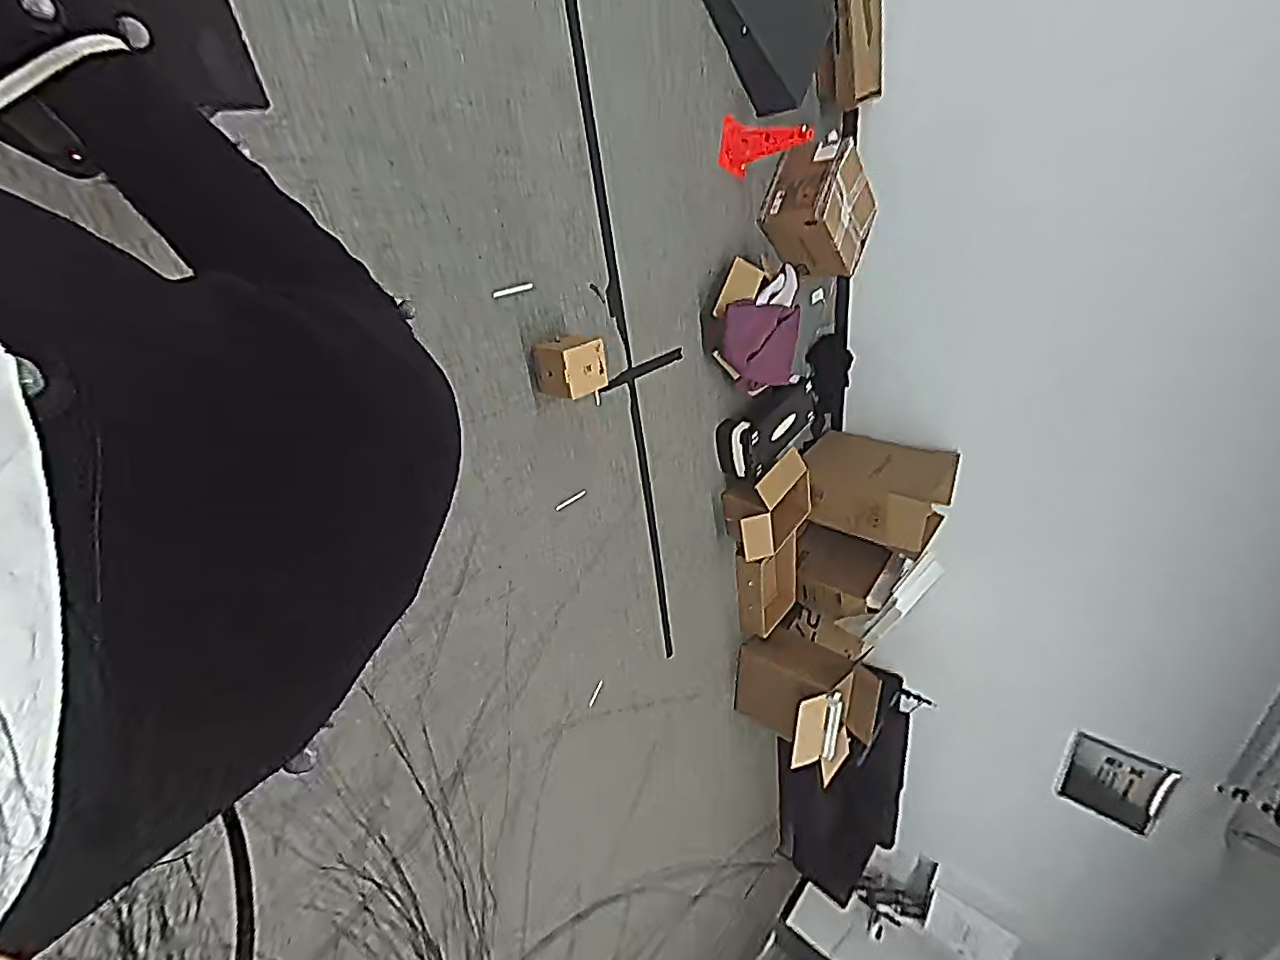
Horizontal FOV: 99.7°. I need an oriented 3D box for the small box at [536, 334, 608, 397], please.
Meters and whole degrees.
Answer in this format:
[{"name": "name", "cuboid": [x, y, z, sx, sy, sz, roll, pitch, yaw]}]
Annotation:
[{"name": "small box", "cuboid": [-0.236, -0.392, 1.833, 0.179, 0.176, 0.168, -31, 125, -38]}]
